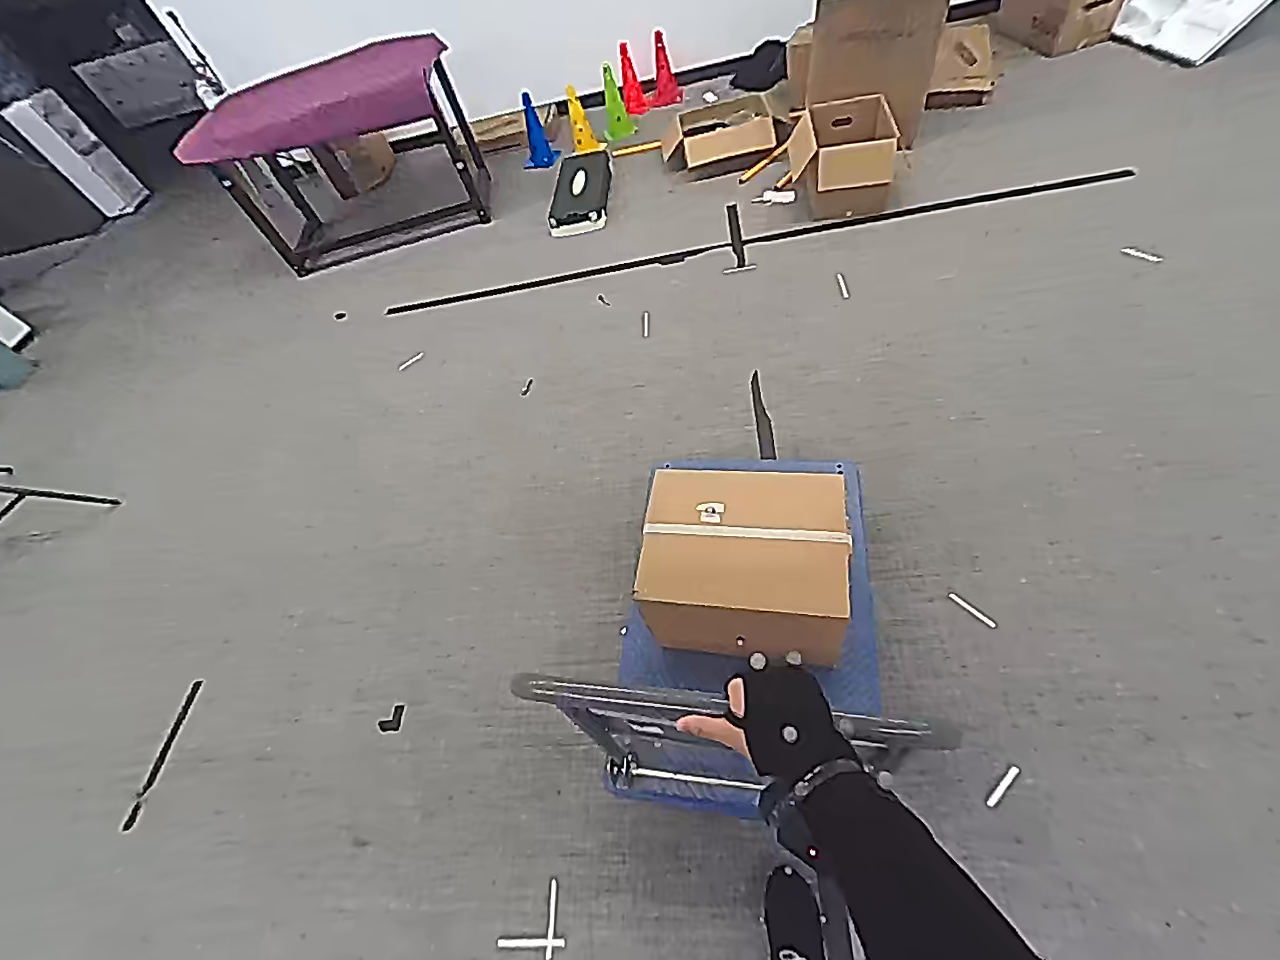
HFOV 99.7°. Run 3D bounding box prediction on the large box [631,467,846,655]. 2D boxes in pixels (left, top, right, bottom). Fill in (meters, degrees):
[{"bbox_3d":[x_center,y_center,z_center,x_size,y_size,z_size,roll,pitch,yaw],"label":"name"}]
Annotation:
[{"bbox_3d":[0.230,0.182,1.205,0.408,0.320,0.320,1,55,16],"label":"large box"}]
